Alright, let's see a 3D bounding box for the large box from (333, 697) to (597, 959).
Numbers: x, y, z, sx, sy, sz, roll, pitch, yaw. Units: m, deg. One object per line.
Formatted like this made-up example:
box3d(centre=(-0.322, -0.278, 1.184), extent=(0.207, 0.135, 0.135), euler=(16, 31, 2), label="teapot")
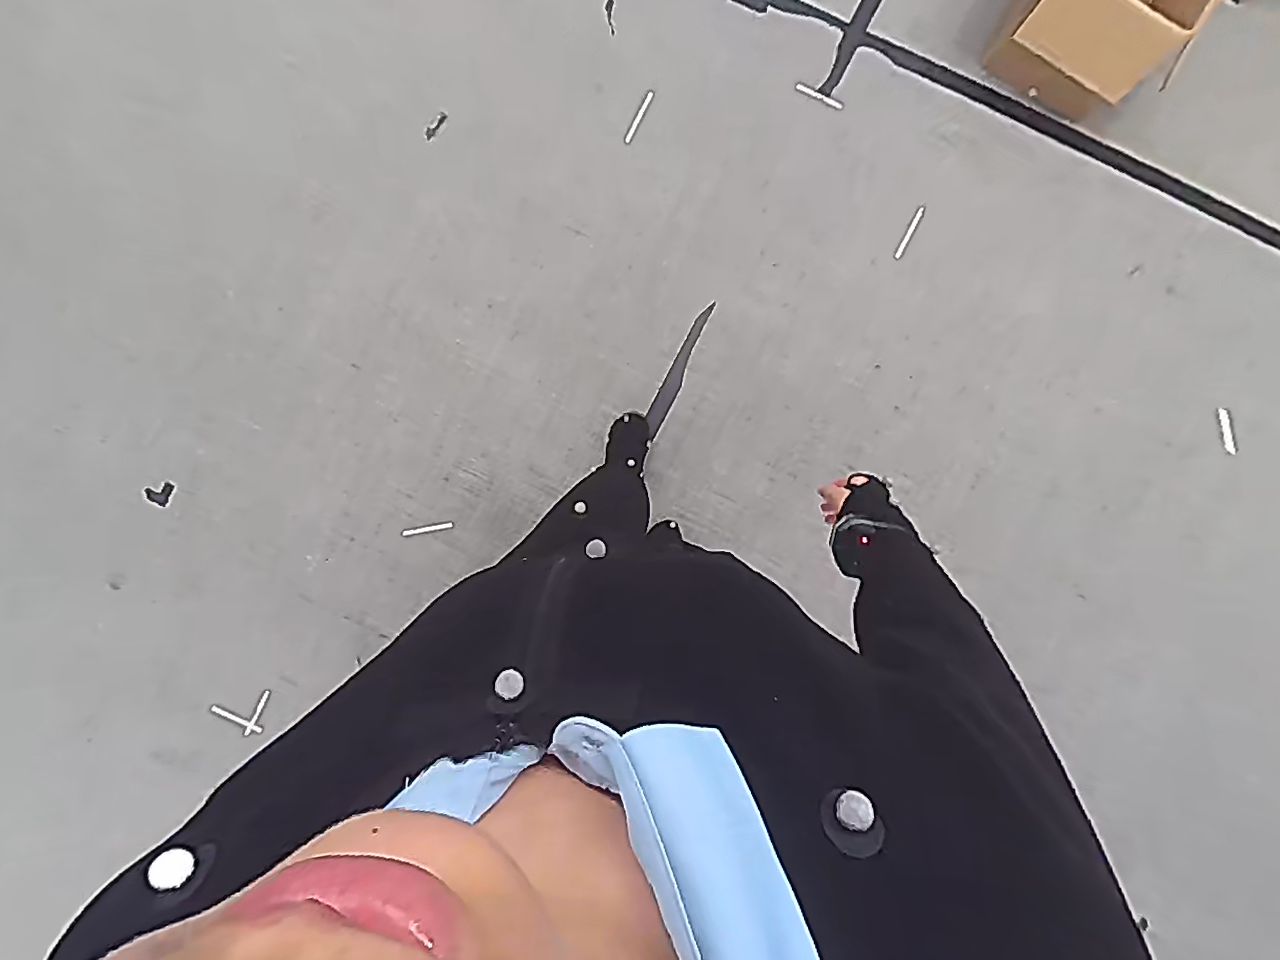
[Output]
box3d(centre=(-0.345, 0.744, 1.178), extent=(0.408, 0.320, 0.320), euler=(24, 89, 1), label="large box")
